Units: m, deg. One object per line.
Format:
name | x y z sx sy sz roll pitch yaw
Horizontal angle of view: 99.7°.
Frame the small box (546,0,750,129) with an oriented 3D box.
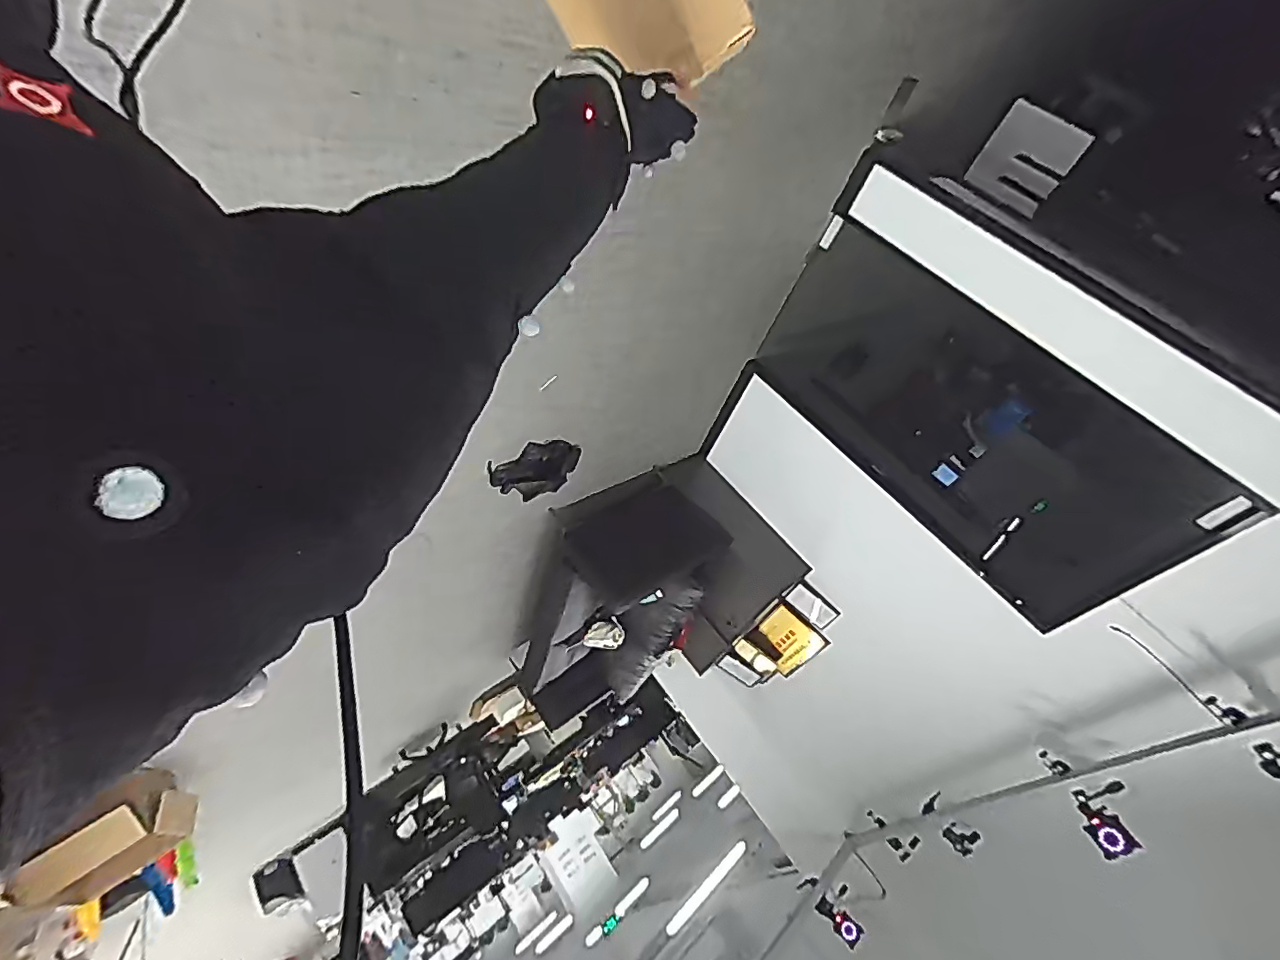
small box | 0.001 -0.515 0.584 0.168 0.179 0.176 -25 119 18
